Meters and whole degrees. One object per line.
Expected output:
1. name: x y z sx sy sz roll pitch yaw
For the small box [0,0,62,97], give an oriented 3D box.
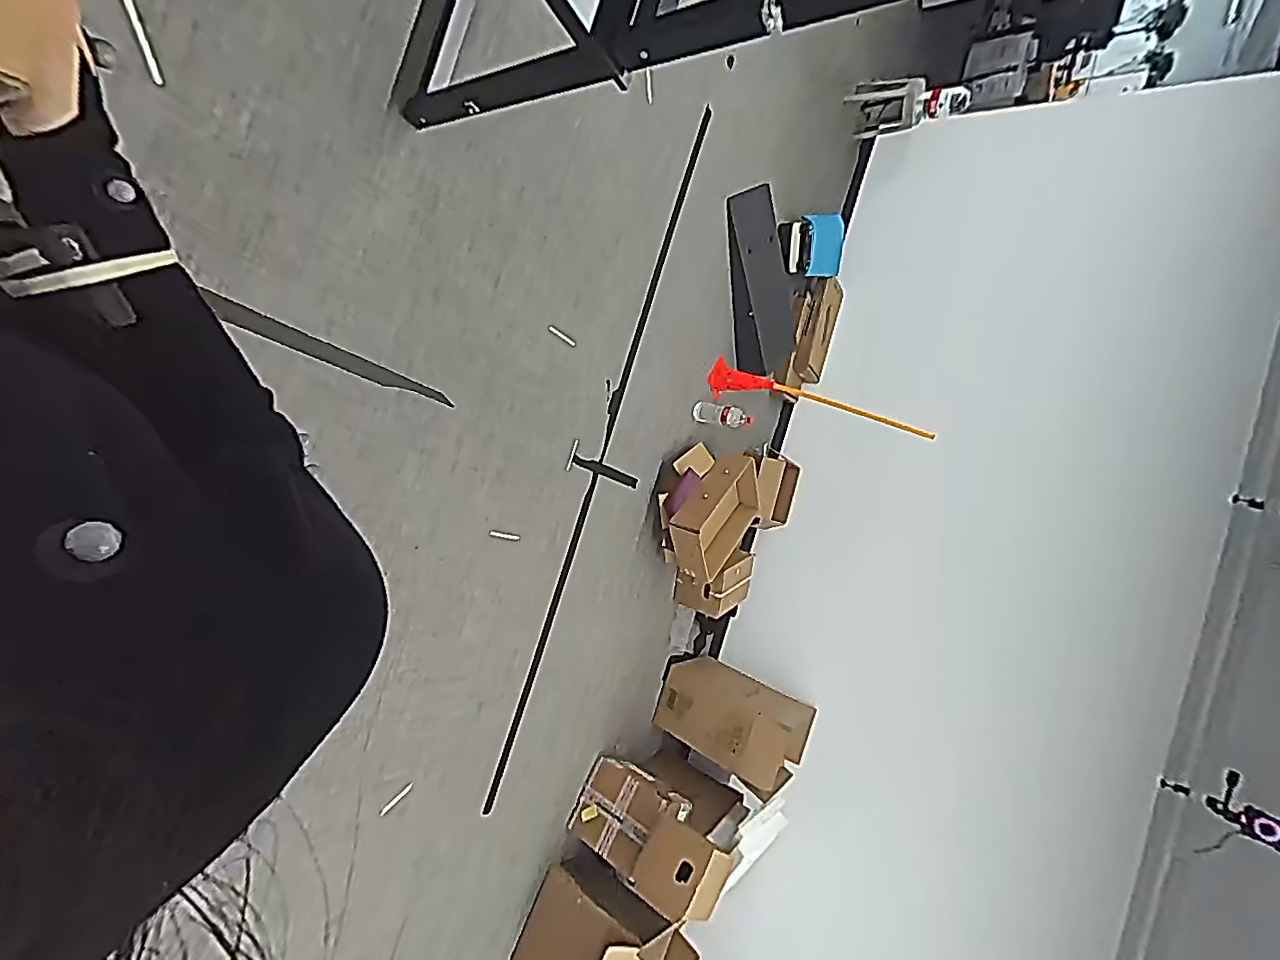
1. small box: -0.318 -0.263 0.181 0.168 0.176 0.179 7 102 -58
